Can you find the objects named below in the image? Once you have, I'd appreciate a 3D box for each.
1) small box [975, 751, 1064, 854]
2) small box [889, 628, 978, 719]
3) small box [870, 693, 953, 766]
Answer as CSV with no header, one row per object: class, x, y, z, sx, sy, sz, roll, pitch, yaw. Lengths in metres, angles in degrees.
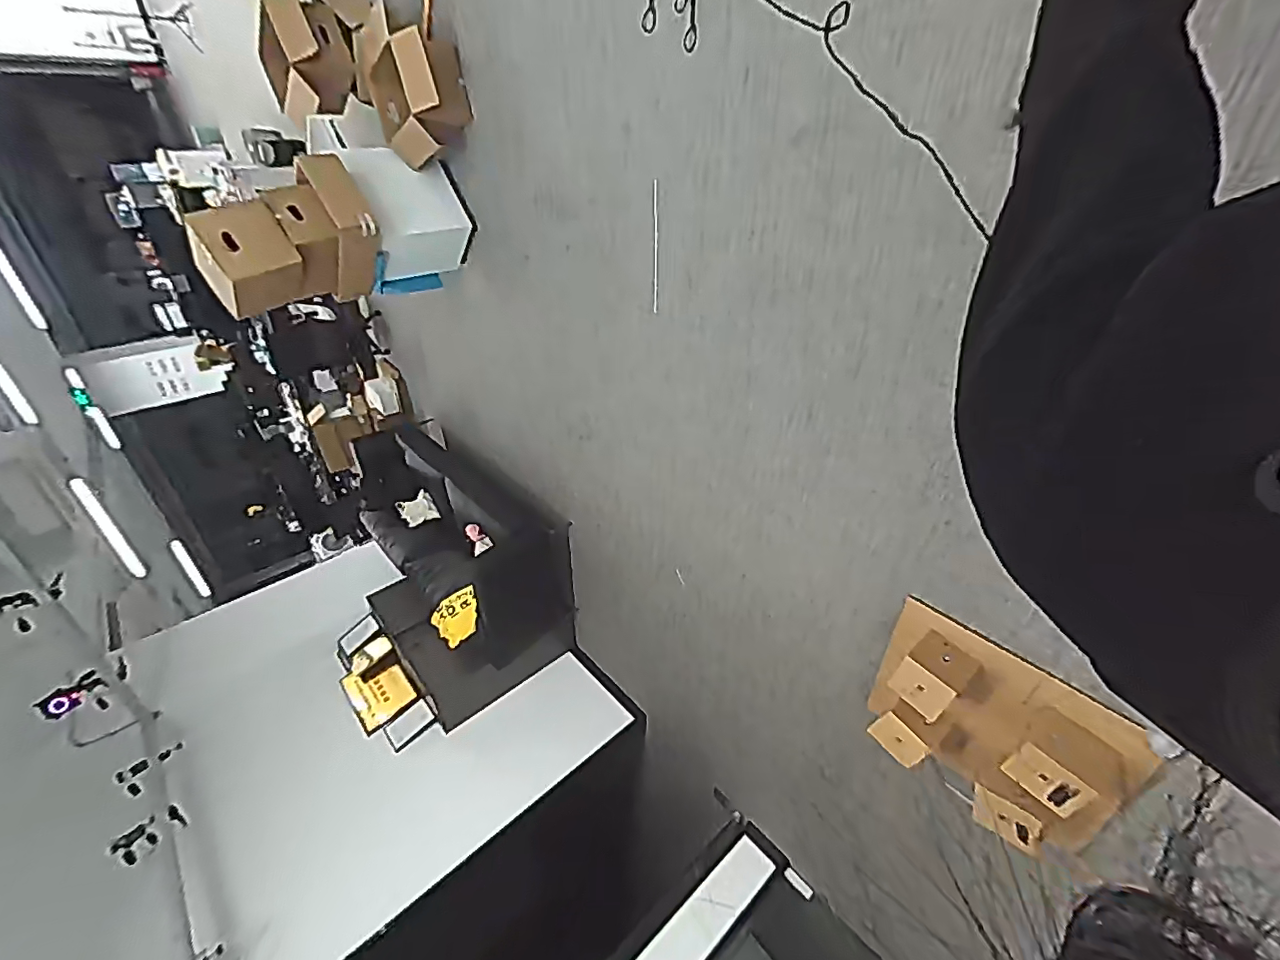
small box,1.161,0.975,1.652,0.179,0.176,0.168,18,126,49
small box,0.932,0.606,1.710,0.168,0.176,0.179,39,140,34
small box,0.939,0.837,1.860,0.168,0.176,0.179,43,143,28
